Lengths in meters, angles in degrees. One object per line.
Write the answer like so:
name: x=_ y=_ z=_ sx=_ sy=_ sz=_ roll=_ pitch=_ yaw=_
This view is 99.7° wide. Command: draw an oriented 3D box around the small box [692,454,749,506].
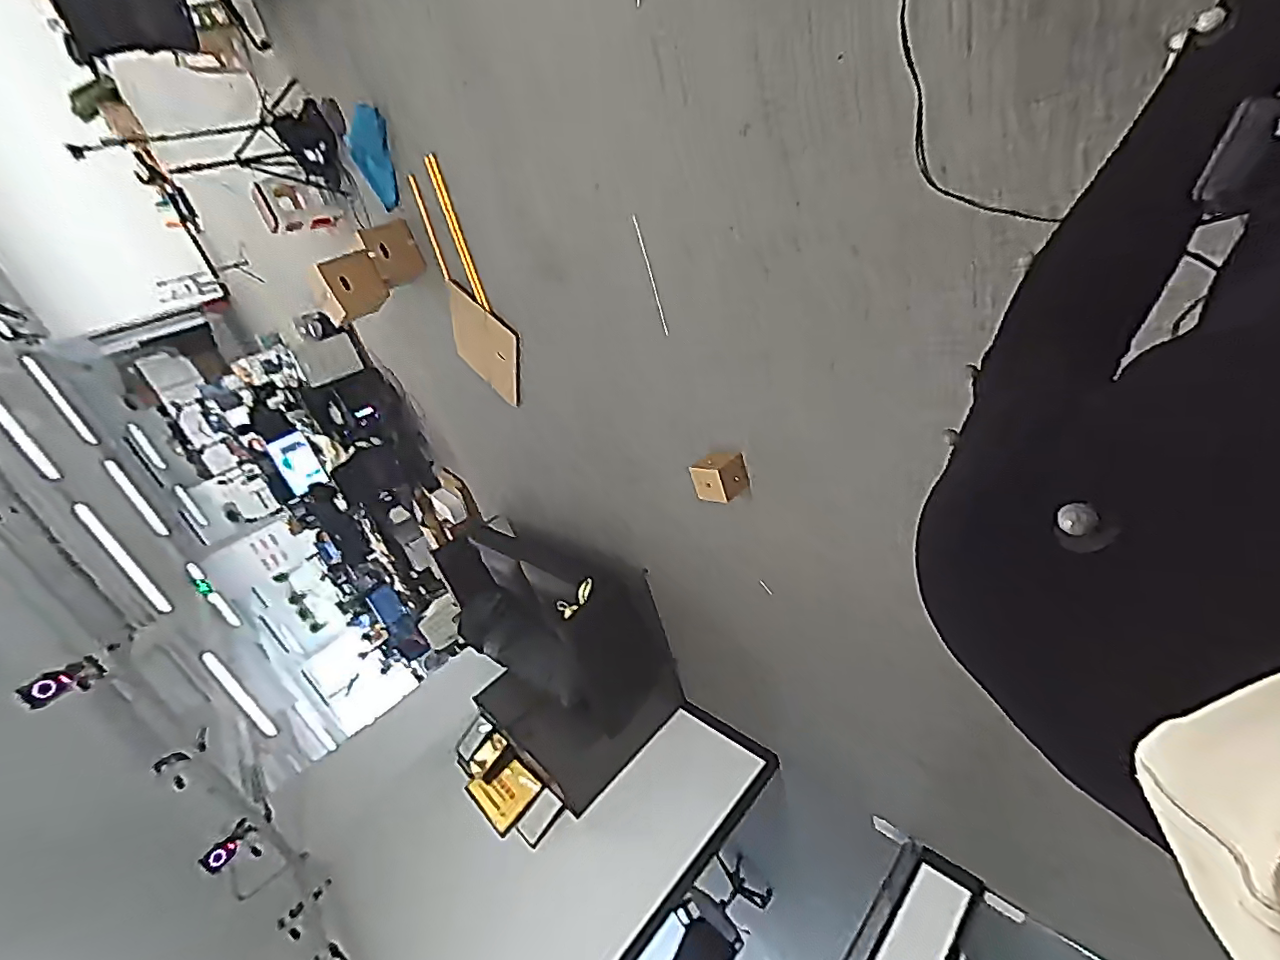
small box: x=0.366 y=-0.005 z=2.403 sx=0.179 sy=0.176 sz=0.168 roll=8 pitch=124 yaw=50
